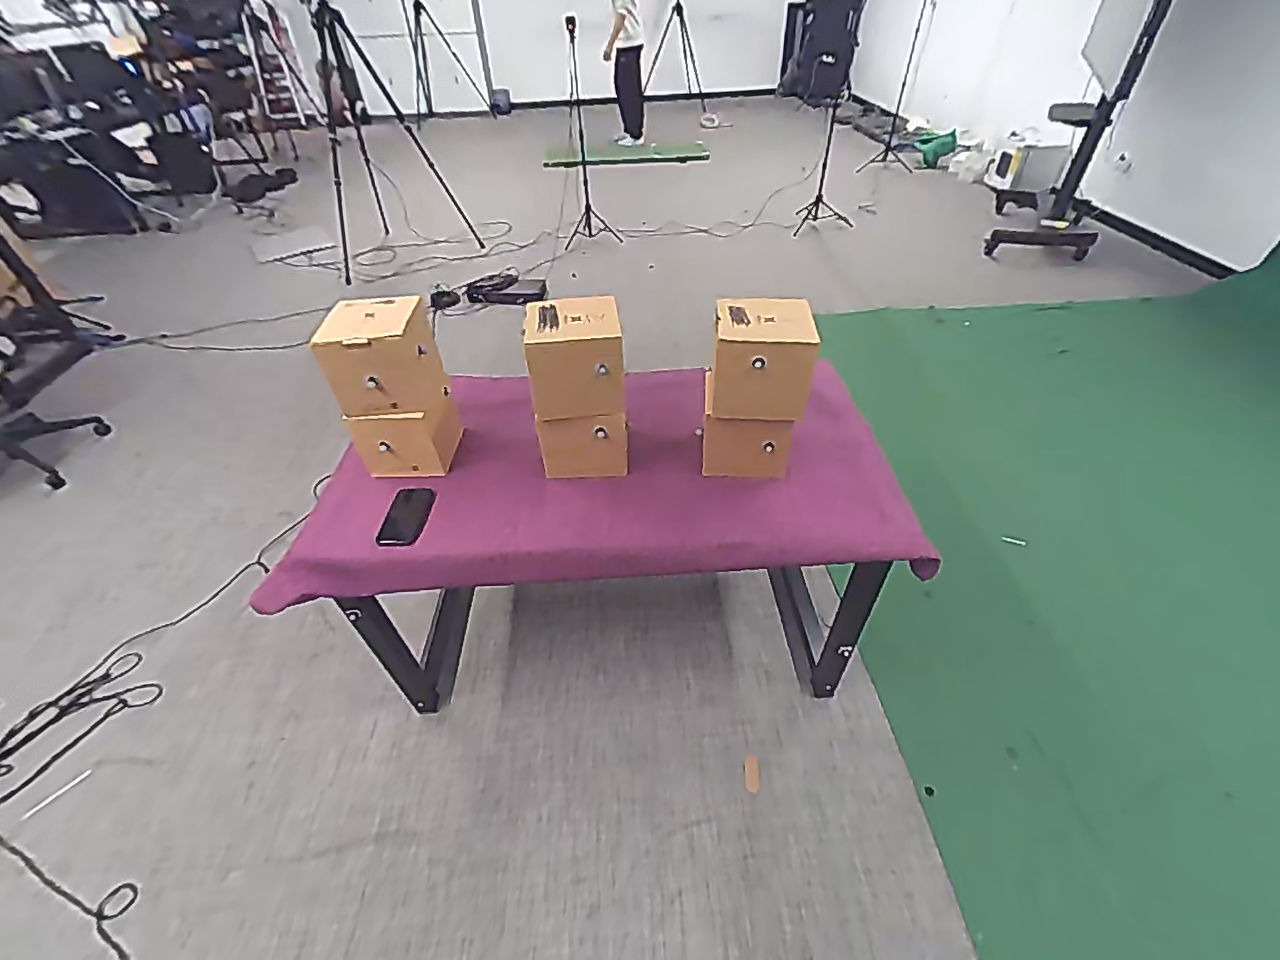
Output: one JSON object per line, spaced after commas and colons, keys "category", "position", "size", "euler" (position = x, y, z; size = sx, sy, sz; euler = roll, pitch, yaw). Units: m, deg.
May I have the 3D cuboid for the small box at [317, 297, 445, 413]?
{"category": "small box", "position": [-0.506, -0.247, 1.090], "size": [0.168, 0.176, 0.179], "euler": [-4, 44, -2]}

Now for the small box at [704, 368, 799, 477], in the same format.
{"category": "small box", "position": [0.231, -0.121, 1.154], "size": [0.179, 0.176, 0.168], "euler": [2, 43, 6]}

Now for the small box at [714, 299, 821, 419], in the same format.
{"category": "small box", "position": [0.233, -0.230, 1.031], "size": [0.179, 0.176, 0.168], "euler": [3, 43, 5]}

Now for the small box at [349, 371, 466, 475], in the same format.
{"category": "small box", "position": [-0.500, -0.122, 1.197], "size": [0.168, 0.176, 0.179], "euler": [-1, 43, 2]}

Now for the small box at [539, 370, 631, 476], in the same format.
{"category": "small box", "position": [-0.109, -0.121, 1.171], "size": [0.179, 0.176, 0.168], "euler": [-2, 43, 2]}
